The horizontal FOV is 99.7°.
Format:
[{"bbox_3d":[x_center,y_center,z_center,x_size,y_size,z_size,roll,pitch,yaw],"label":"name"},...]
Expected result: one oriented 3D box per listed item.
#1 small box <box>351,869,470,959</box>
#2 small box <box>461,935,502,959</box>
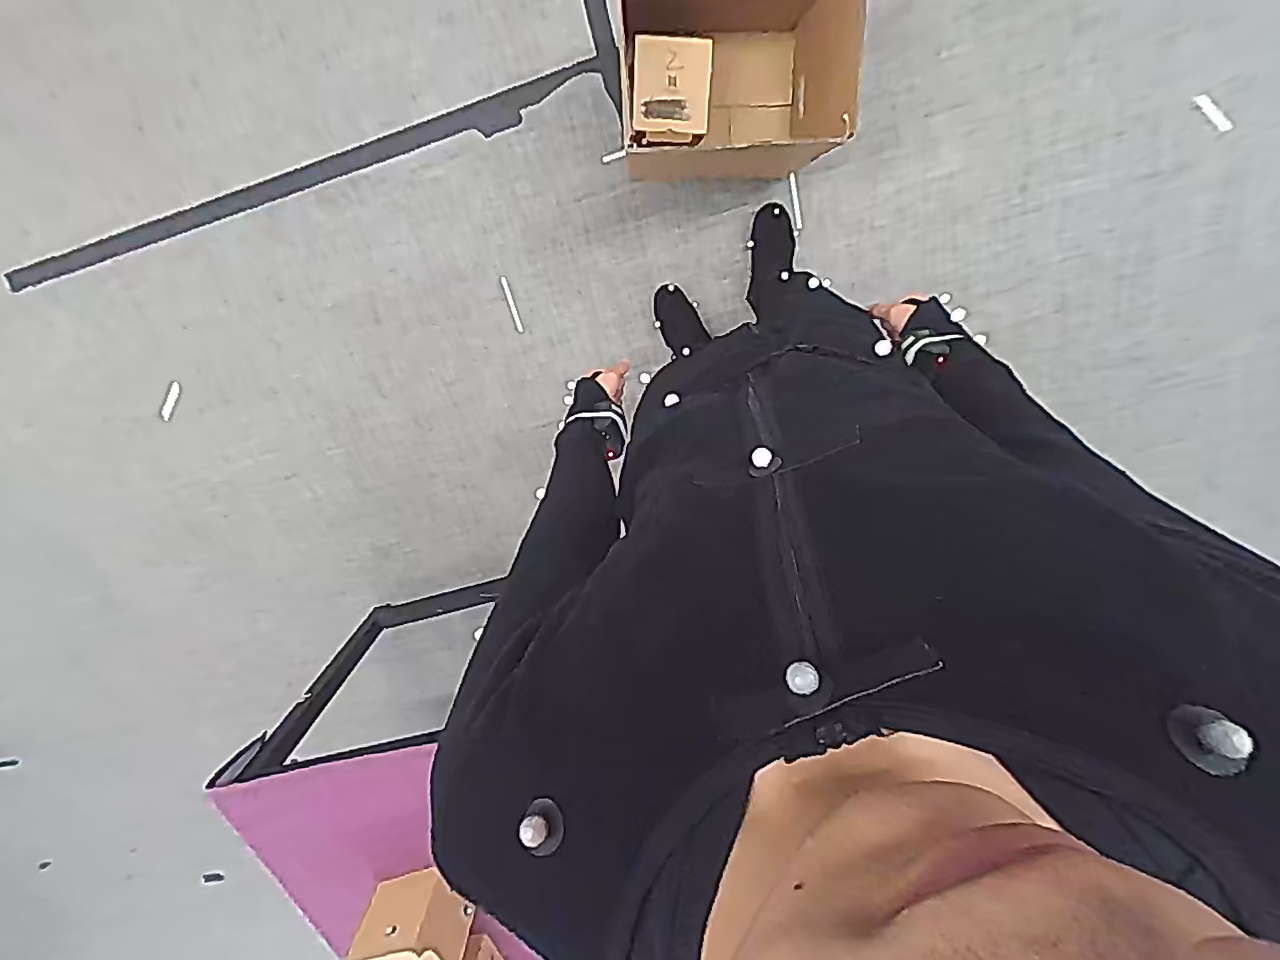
[{"bbox_3d":[-0.506,1.025,1.223,0.179,0.176,0.168,-22,109,10],"label":"small box"},{"bbox_3d":[-0.439,1.252,1.312,0.179,0.176,0.168,-17,110,8],"label":"small box"}]
